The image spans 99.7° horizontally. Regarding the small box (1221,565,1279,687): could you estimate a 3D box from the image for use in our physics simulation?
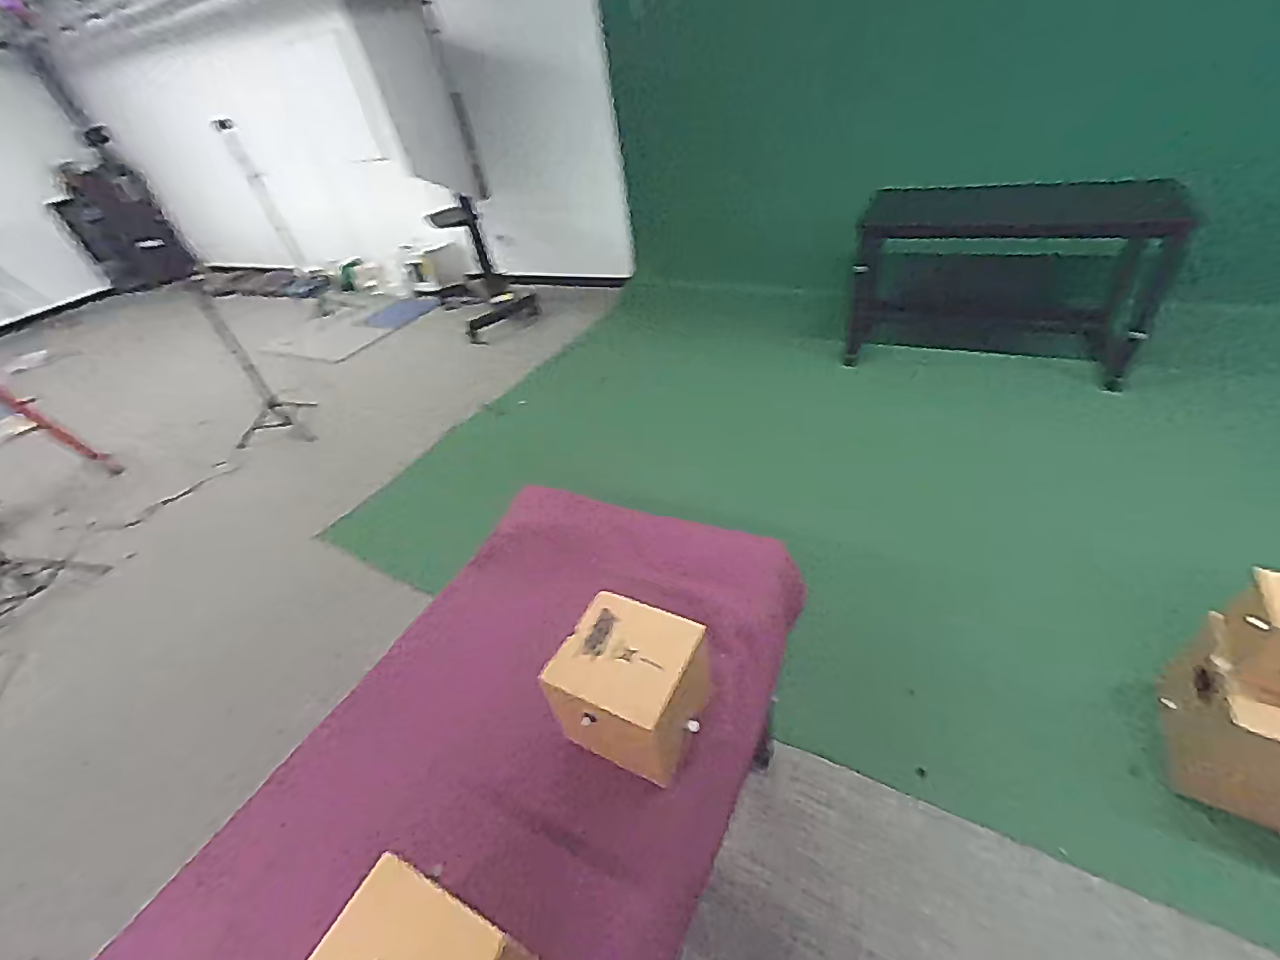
[{"bbox_3d":[1.348,0.312,1.104,0.168,0.176,0.179,14,44,28],"label":"small box"}]

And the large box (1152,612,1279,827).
[{"bbox_3d":[1.450,0.552,1.171,0.408,0.320,0.320,14,45,27],"label":"large box"}]

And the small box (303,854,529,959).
[{"bbox_3d":[-0.225,0.524,0.536,0.179,0.176,0.168,10,43,27],"label":"small box"}]

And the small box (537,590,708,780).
[{"bbox_3d":[-0.014,0.293,0.778,0.179,0.176,0.168,13,44,27],"label":"small box"}]
